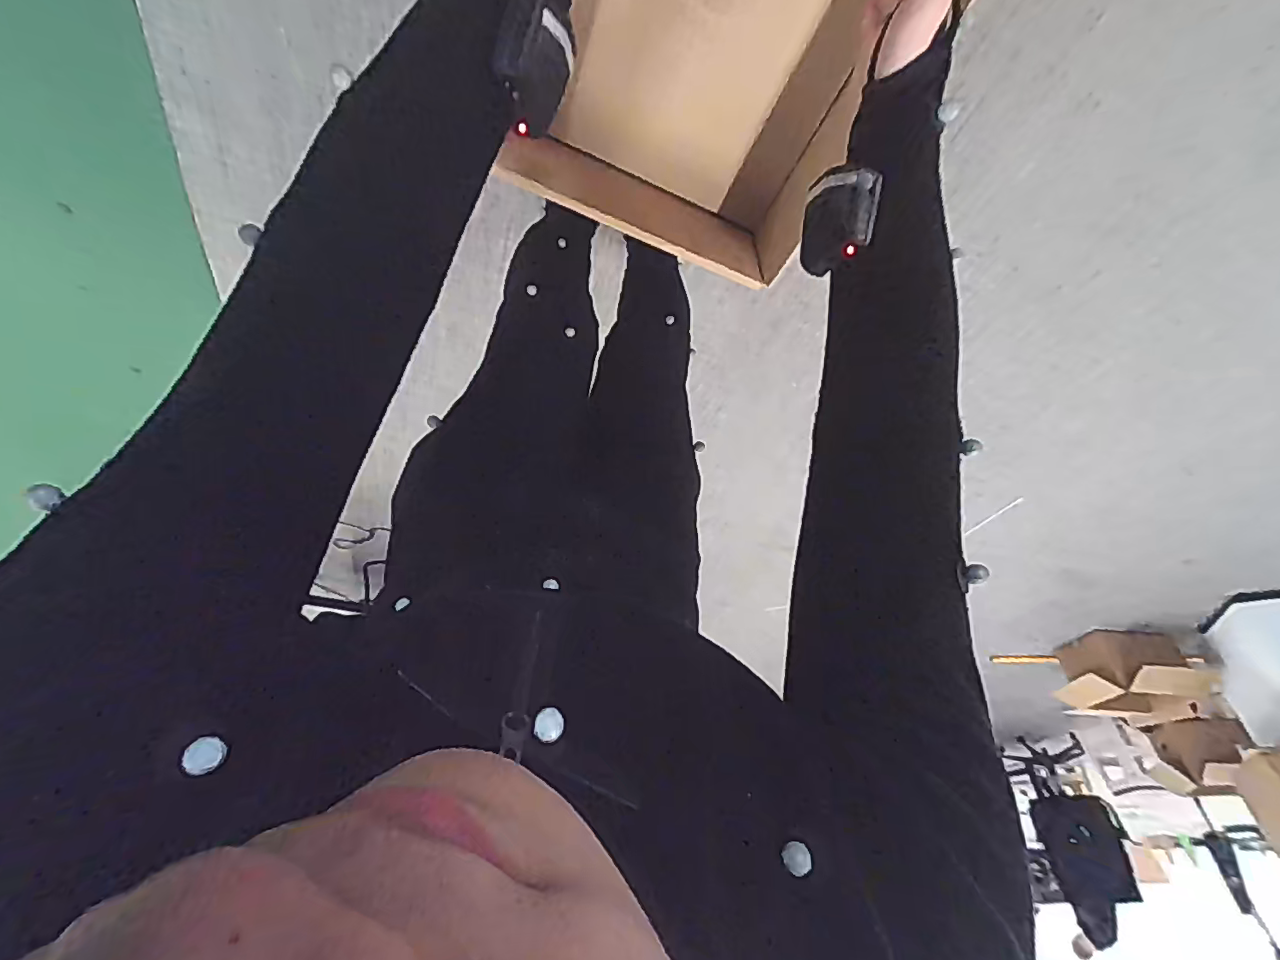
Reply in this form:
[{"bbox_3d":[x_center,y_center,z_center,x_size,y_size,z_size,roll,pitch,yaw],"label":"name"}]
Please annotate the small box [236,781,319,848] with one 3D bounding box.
[{"bbox_3d":[-1.131,1.052,1.698,0.179,0.176,0.168,18,139,-21],"label":"small box"}]
